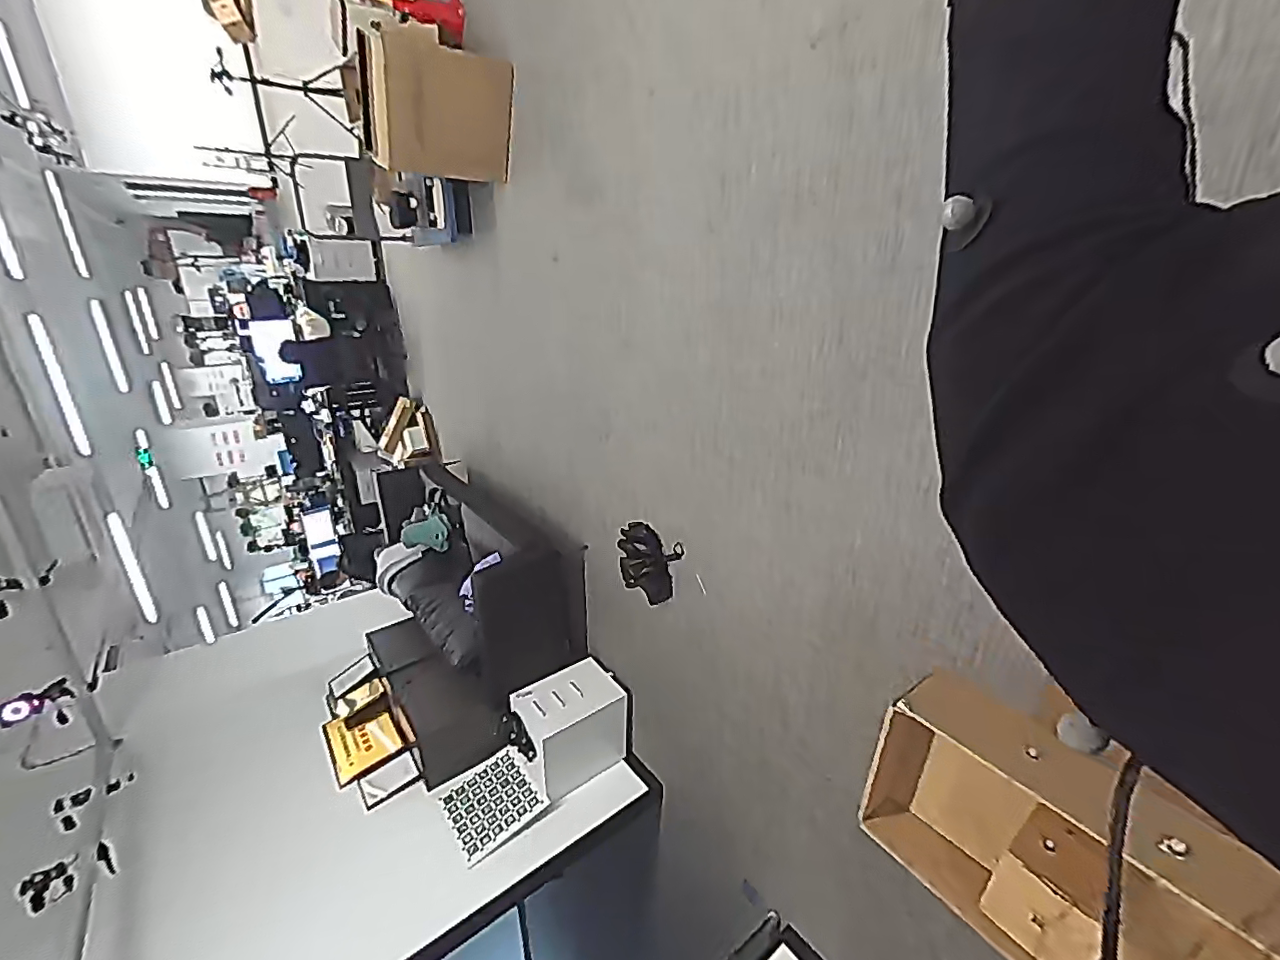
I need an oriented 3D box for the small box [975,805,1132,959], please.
[{"bbox_3d":[0.765,0.754,1.001,0.168,0.176,0.179,30,129,48],"label":"small box"}]
